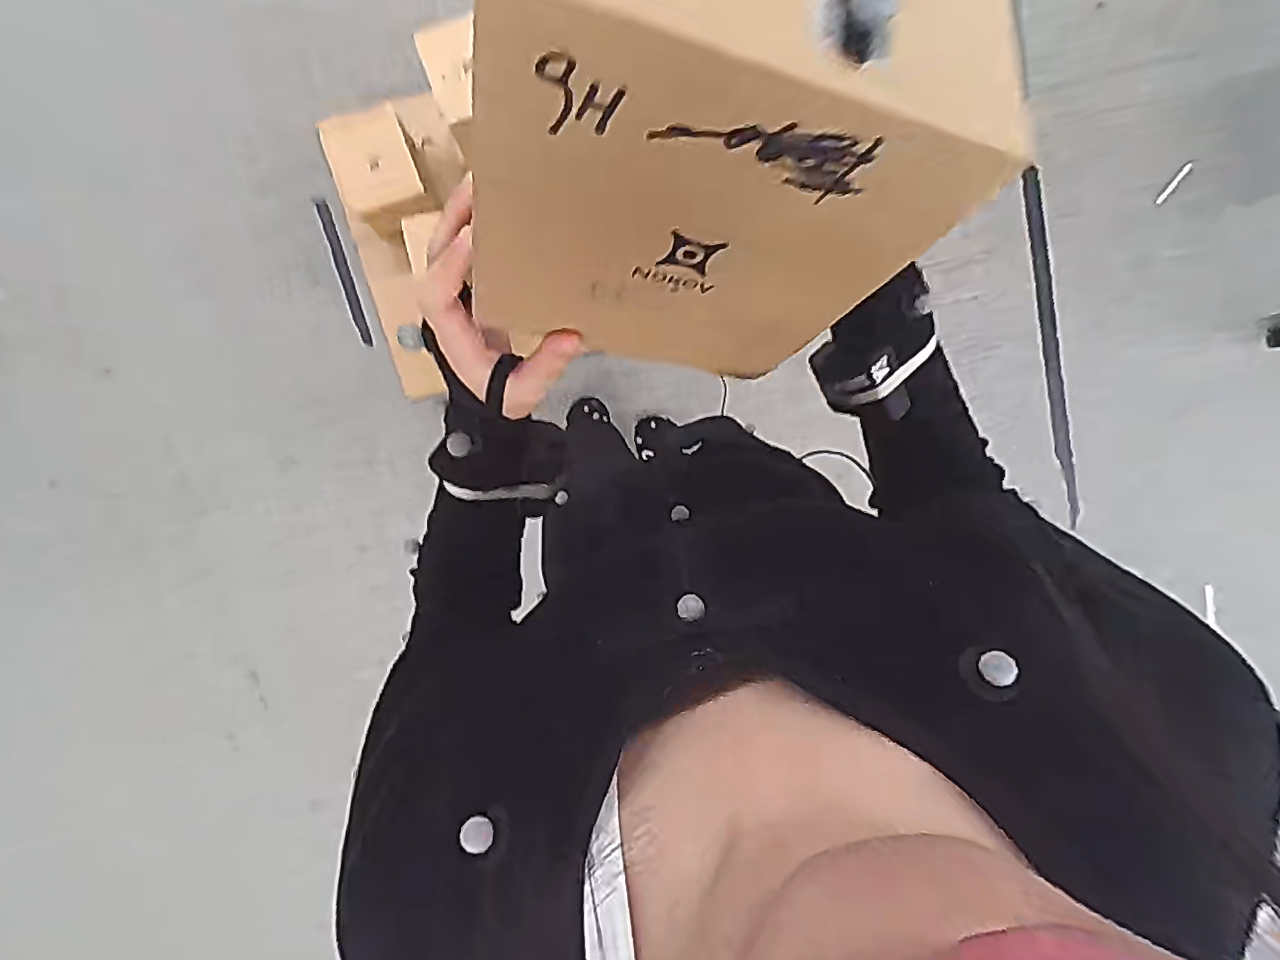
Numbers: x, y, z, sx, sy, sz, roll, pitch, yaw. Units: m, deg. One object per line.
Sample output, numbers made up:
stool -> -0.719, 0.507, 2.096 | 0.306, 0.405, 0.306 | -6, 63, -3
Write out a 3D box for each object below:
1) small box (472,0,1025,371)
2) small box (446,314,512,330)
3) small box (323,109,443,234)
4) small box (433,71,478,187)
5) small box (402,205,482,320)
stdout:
small box -> 0.023, -0.171, 0.237 | 0.168, 0.179, 0.176 | 7, 76, -16
small box -> -0.387, -0.473, 1.297 | 0.168, 0.176, 0.179 | -13, 100, -4
small box -> -0.583, -0.702, 1.251 | 0.168, 0.176, 0.179 | -21, 99, 0
small box -> -0.348, -0.812, 1.257 | 0.179, 0.176, 0.168 | -20, 99, -2
small box -> -0.373, -0.448, 1.135 | 0.168, 0.176, 0.179 | -11, 99, -4
